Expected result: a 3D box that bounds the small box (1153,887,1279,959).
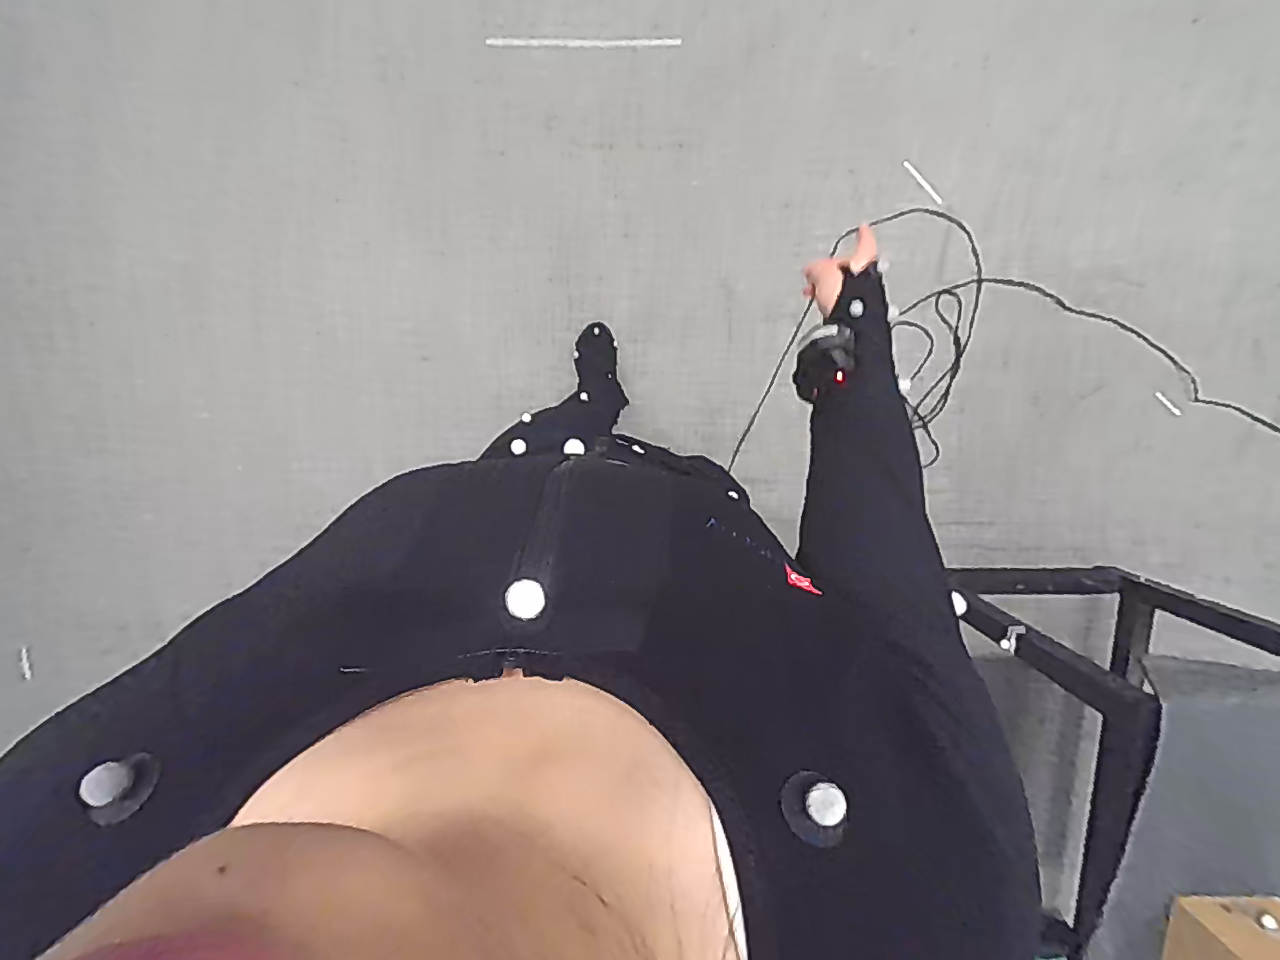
[{"bbox_3d":[0.880,0.723,0.759,0.168,0.176,0.179,1,98,-1],"label":"small box"}]
